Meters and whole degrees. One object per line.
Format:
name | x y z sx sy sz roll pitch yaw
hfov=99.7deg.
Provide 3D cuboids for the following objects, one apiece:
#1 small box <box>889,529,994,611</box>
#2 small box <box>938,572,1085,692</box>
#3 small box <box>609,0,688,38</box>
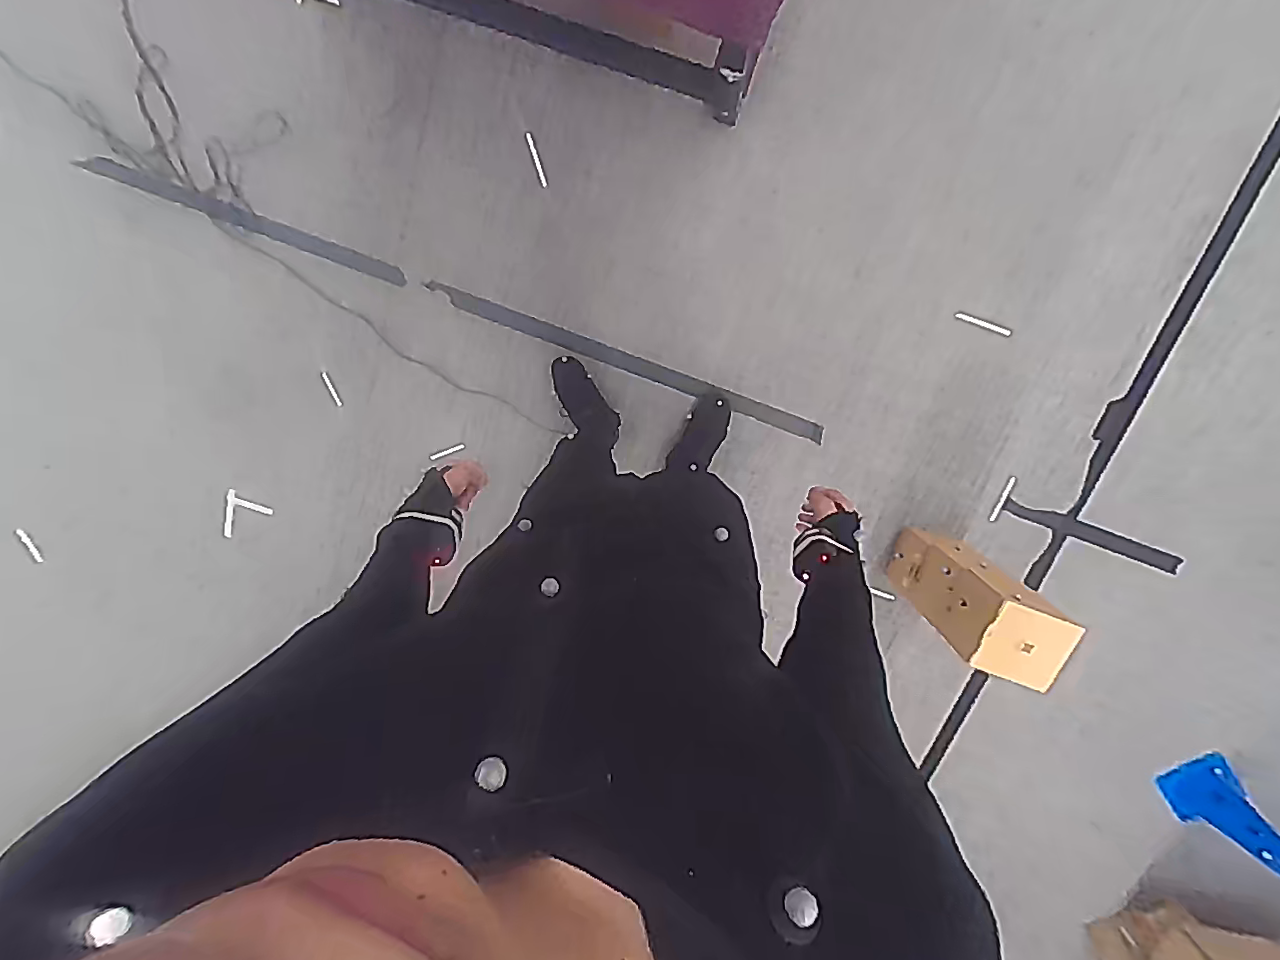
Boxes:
small box | 0.835 0.252 1.517 0.179 0.176 0.168 17 105 2
small box | 0.810 0.328 1.198 0.179 0.176 0.168 20 106 1
small box | 0.032 -1.181 1.256 0.179 0.176 0.168 20 104 1
